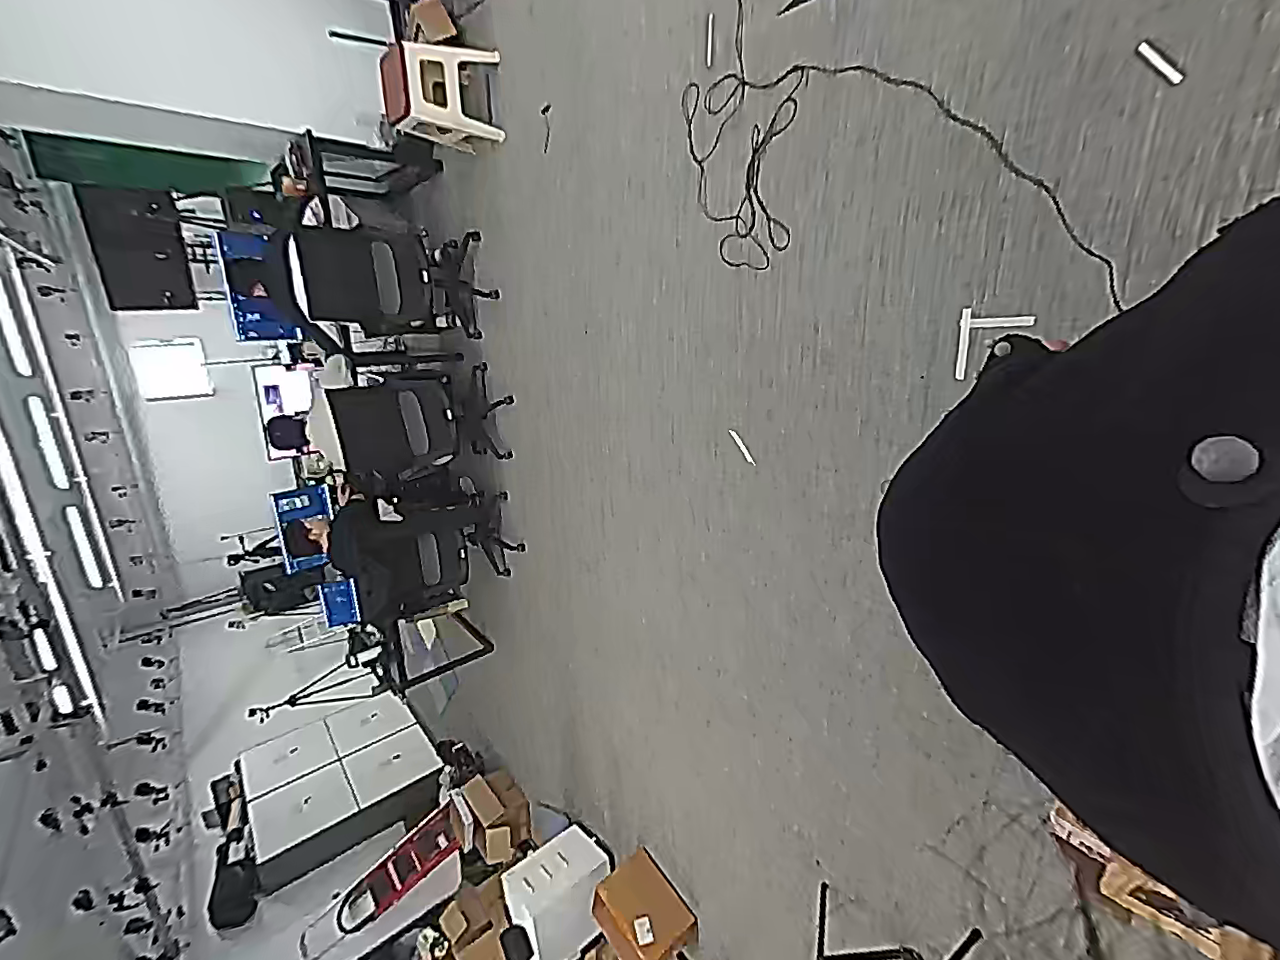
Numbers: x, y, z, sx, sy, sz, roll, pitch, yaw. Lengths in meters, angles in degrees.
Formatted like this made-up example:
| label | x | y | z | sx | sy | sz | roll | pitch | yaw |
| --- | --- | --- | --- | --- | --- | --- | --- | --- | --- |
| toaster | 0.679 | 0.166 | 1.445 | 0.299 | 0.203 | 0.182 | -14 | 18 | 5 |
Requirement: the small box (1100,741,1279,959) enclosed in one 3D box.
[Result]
| label | x | y | z | sx | sy | sz | roll | pitch | yaw |
| --- | --- | --- | --- | --- | --- | --- | --- | --- | --- |
| small box | 0.783 | 0.511 | 0.752 | 0.168 | 0.176 | 0.179 | 19 | 112 | 47 |
